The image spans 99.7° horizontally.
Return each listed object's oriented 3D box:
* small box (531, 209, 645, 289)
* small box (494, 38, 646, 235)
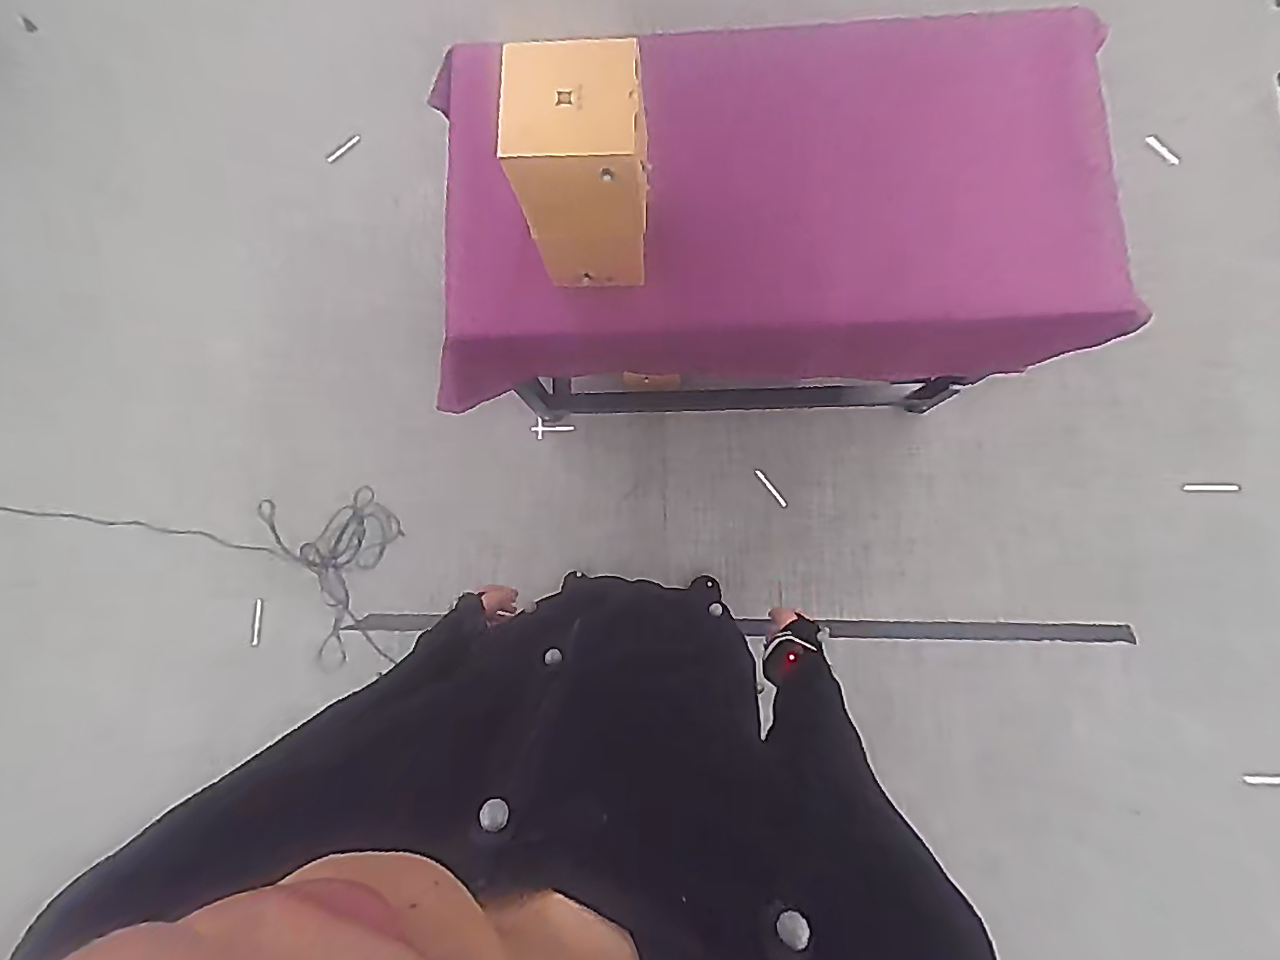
[{"bbox_3d":[-0.079,-0.444,0.909,0.168,0.176,0.179,0,83,4],"label":"small box"},{"bbox_3d":[-0.086,-0.460,0.748,0.179,0.176,0.168,1,82,4],"label":"small box"}]
